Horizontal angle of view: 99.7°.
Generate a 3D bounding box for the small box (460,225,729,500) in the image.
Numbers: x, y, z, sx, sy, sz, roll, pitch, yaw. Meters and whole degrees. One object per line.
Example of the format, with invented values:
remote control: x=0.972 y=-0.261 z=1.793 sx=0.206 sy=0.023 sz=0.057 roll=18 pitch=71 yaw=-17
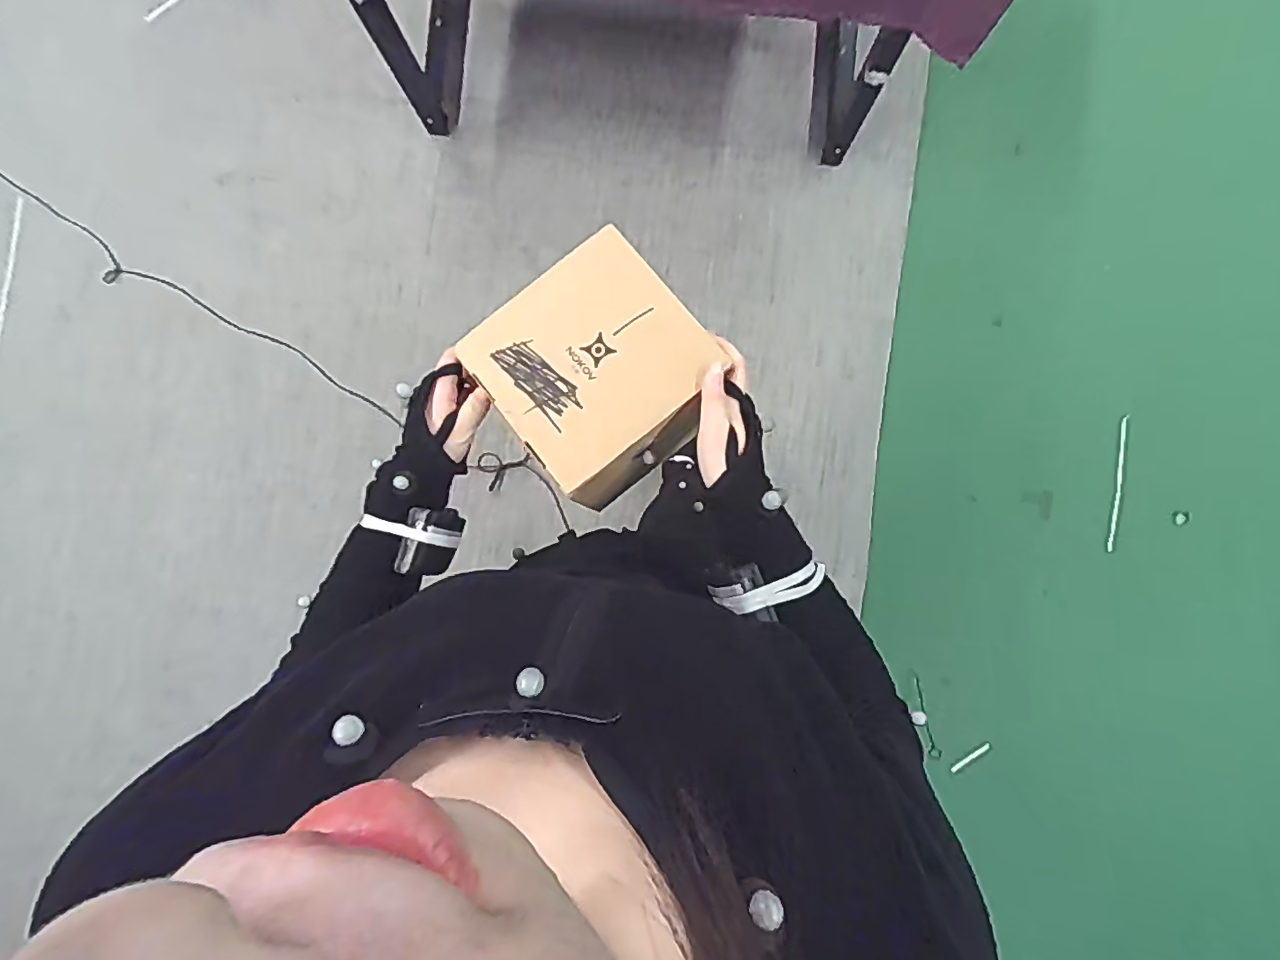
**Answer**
small box: x=-0.034 y=-0.096 z=0.530 sx=0.179 sy=0.176 sz=0.168 roll=-38 pitch=82 yaw=-2
